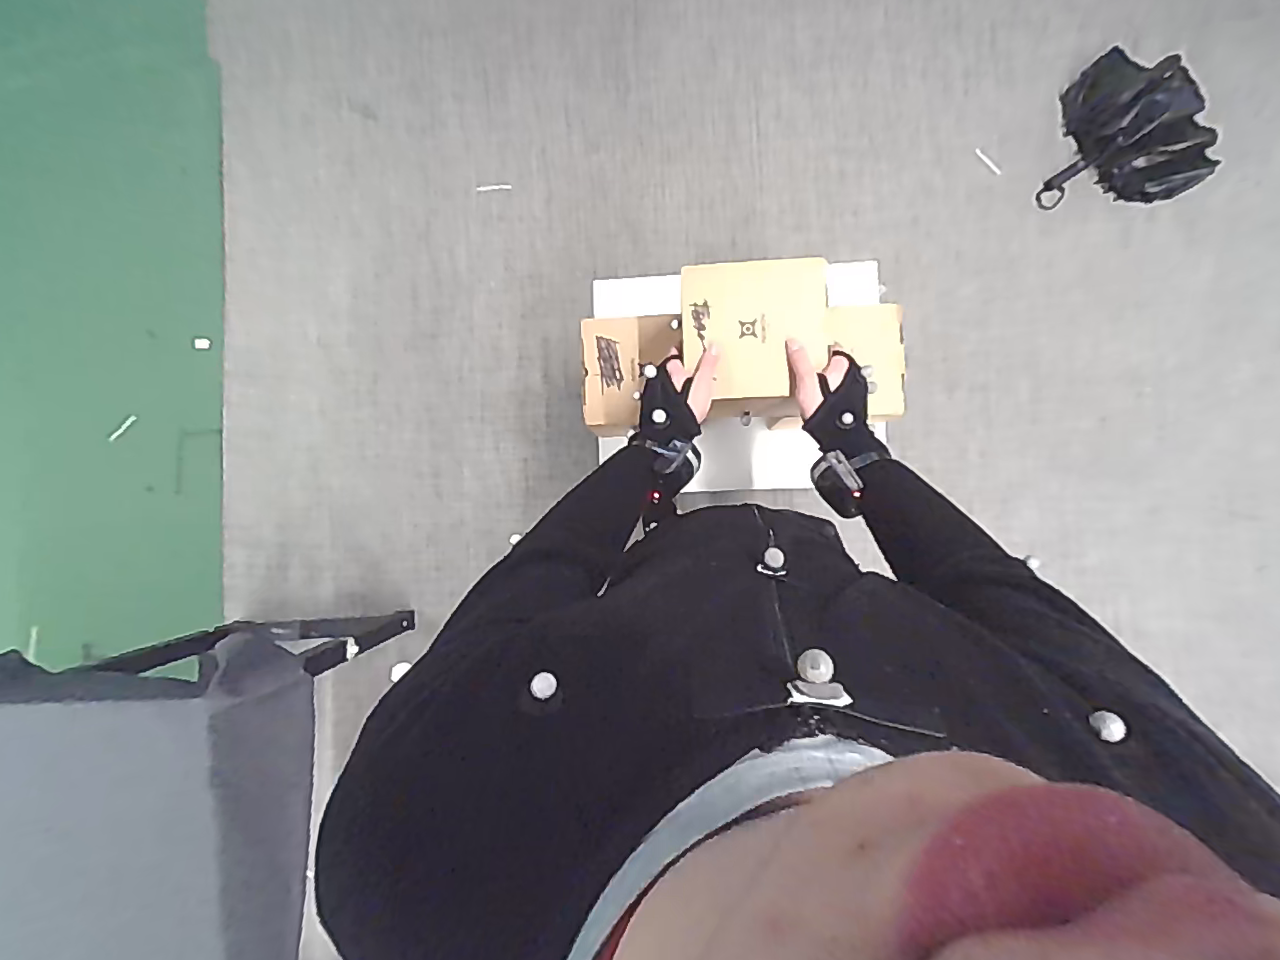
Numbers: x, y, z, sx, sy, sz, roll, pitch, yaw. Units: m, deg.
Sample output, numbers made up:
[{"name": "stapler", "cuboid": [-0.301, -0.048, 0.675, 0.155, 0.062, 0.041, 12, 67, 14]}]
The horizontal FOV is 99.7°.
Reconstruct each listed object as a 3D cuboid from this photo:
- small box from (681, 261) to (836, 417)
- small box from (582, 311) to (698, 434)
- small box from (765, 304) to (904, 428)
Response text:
[{"name": "small box", "cuboid": [0.147, -0.177, 0.722, 0.179, 0.176, 0.168, -2, 90, 3]}, {"name": "small box", "cuboid": [0.004, -0.168, 0.890, 0.179, 0.176, 0.168, -2, 89, 1]}, {"name": "small box", "cuboid": [0.303, -0.176, 0.874, 0.179, 0.176, 0.168, -1, 89, 5]}]
